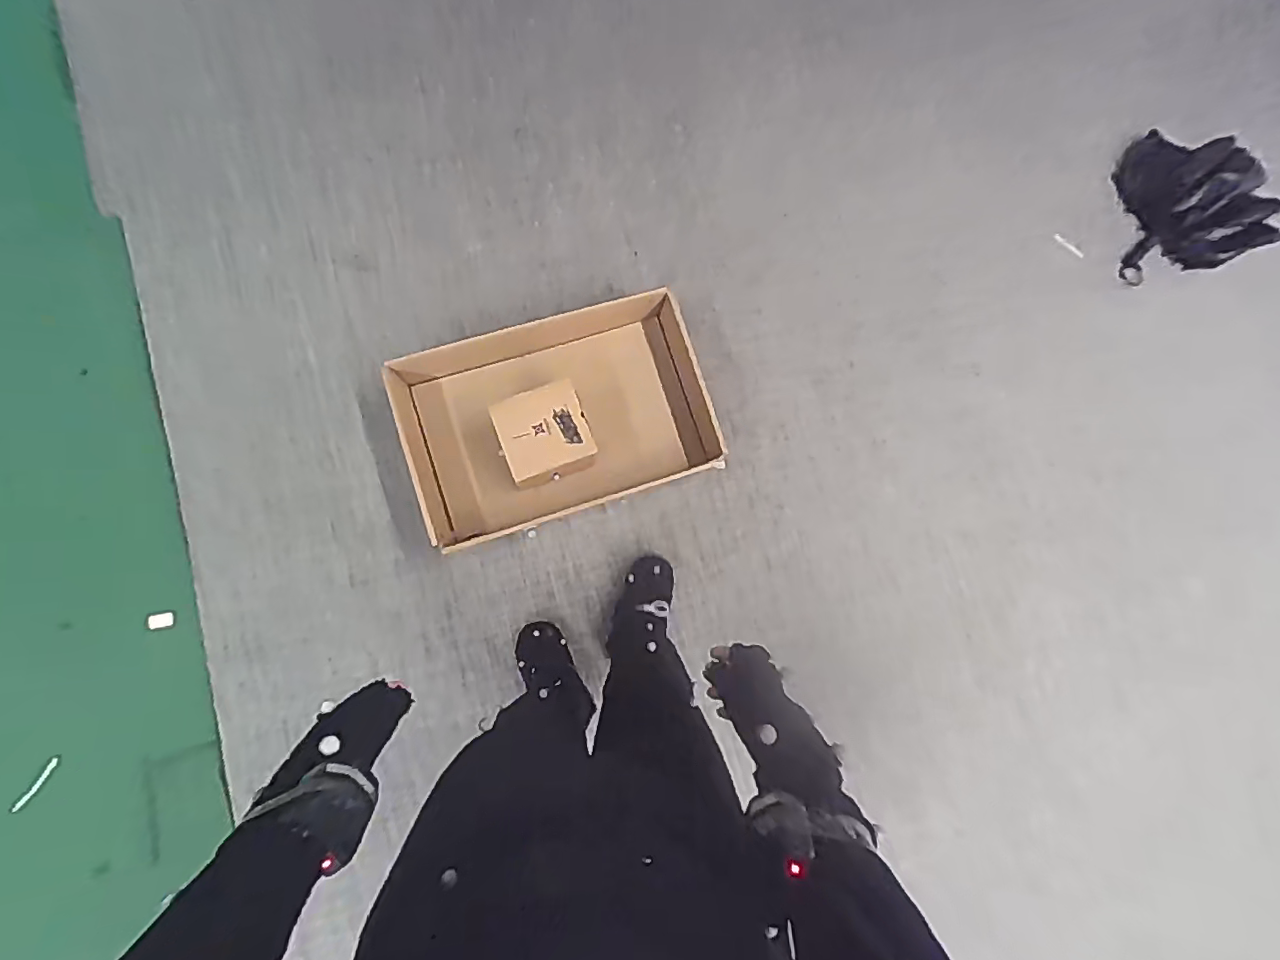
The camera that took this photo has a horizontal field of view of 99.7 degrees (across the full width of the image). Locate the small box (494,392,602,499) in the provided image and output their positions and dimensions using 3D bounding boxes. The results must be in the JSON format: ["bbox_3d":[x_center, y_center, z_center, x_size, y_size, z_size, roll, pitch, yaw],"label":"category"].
[{"bbox_3d":[-0.190,-0.067,1.144,0.179,0.176,0.168,-19,84,-7],"label":"small box"}]
